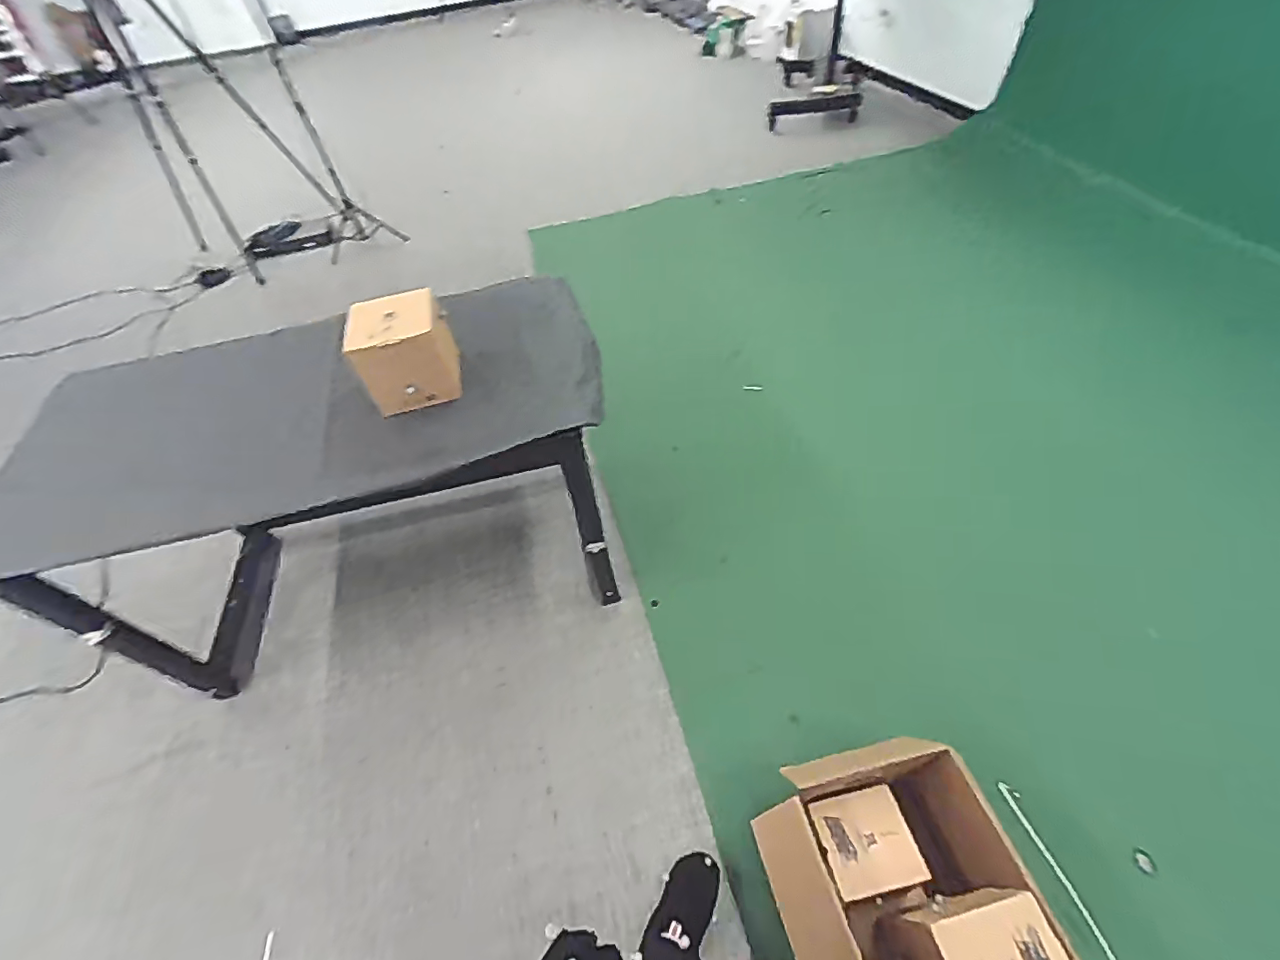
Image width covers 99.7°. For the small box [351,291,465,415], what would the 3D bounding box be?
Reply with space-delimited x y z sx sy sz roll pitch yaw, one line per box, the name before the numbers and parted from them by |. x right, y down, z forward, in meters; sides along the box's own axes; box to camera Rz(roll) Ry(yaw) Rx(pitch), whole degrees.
small box | -0.478 -0.265 1.137 0.168 0.176 0.179 -15 50 -5
